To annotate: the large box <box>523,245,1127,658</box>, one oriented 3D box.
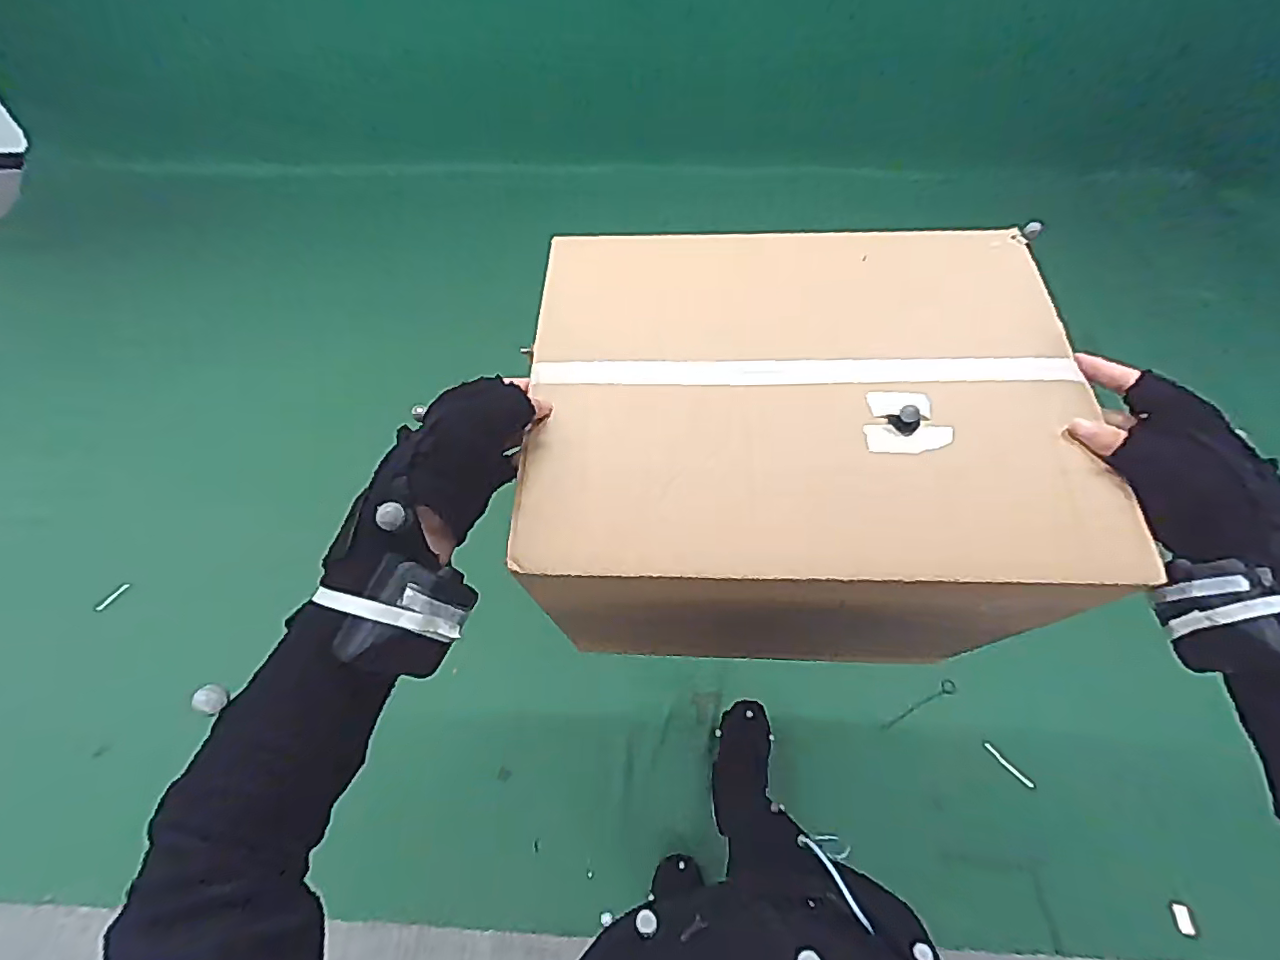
[{"bbox_3d":[0.124,-0.003,0.555,0.408,0.320,0.320,0,63,3],"label":"large box"}]
